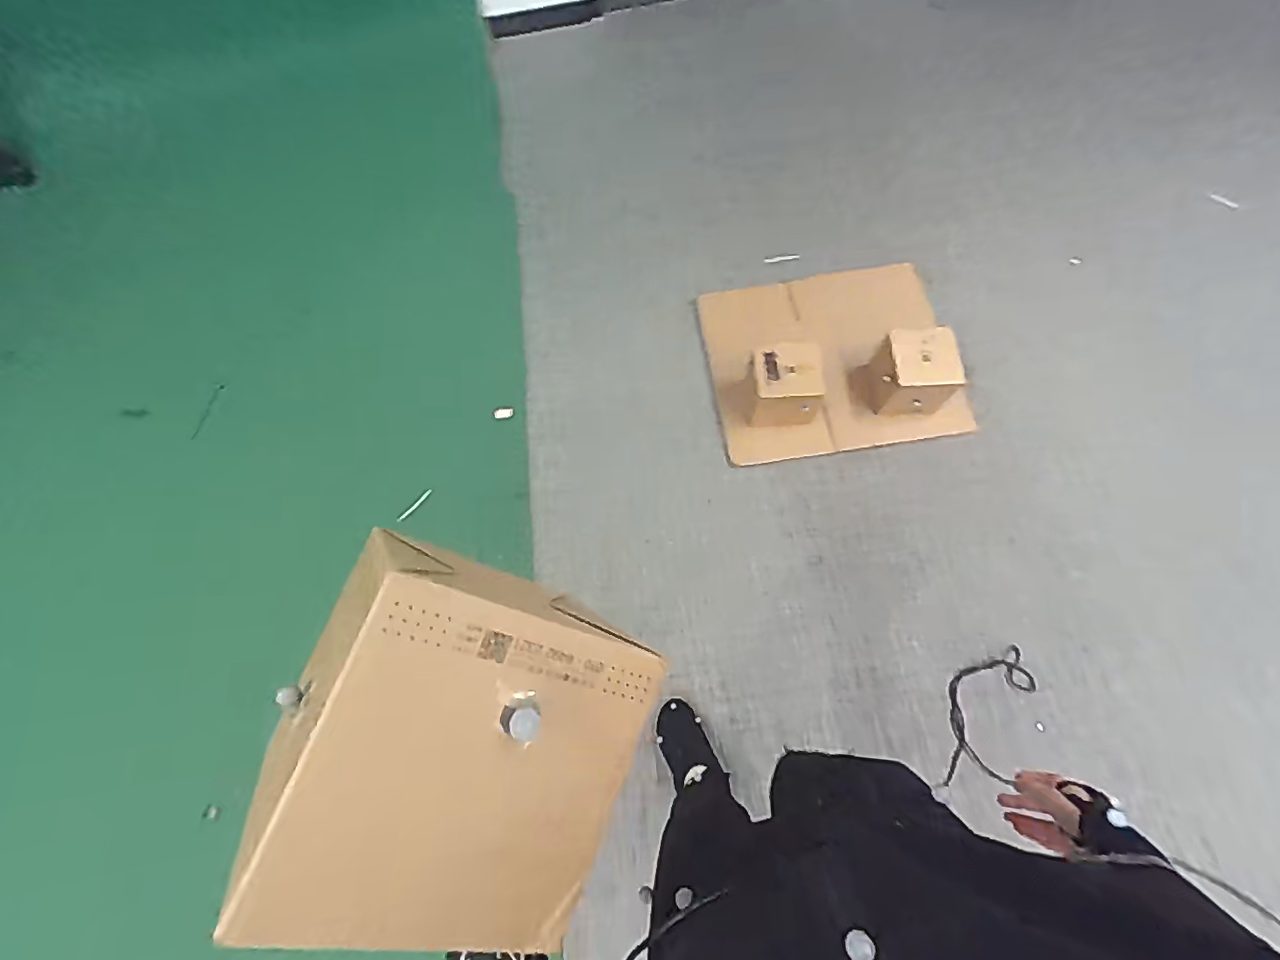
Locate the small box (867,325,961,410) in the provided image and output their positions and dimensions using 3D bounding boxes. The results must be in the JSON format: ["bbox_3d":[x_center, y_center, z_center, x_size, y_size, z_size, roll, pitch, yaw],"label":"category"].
[{"bbox_3d":[0.745,-0.302,1.490,0.168,0.176,0.179,-1,68,3],"label":"small box"}]
